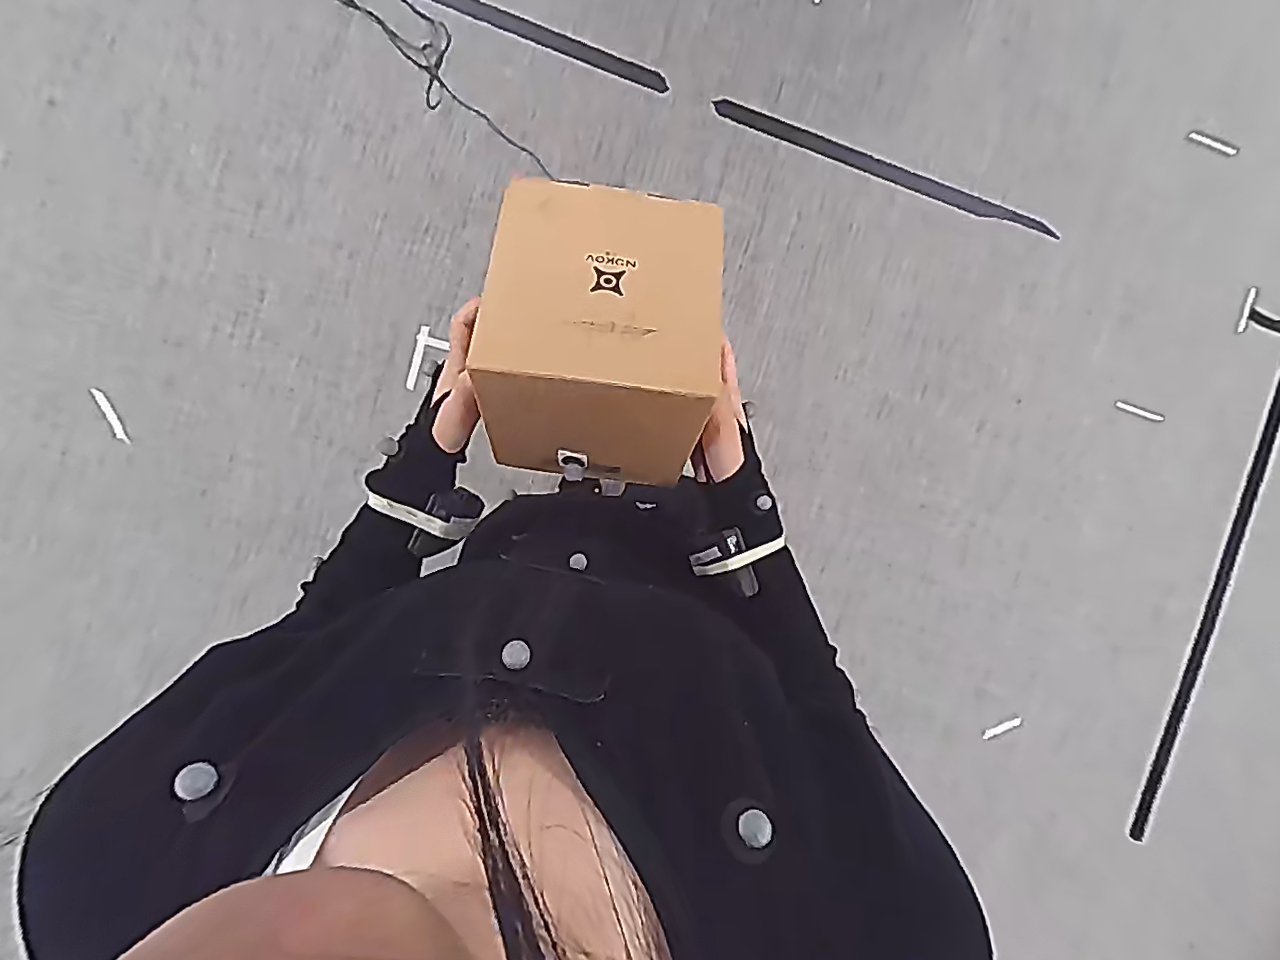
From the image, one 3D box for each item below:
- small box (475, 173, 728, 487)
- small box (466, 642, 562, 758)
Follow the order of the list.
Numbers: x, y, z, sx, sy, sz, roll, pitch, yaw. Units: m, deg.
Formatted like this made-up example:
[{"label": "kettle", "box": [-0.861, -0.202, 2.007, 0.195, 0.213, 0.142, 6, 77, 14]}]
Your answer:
[{"label": "small box", "box": [-0.028, -0.111, 0.451, 0.168, 0.176, 0.179, 6, 68, -5]}, {"label": "small box", "box": [-0.282, 0.497, 1.248, 0.168, 0.176, 0.179, 17, 92, -5]}]
